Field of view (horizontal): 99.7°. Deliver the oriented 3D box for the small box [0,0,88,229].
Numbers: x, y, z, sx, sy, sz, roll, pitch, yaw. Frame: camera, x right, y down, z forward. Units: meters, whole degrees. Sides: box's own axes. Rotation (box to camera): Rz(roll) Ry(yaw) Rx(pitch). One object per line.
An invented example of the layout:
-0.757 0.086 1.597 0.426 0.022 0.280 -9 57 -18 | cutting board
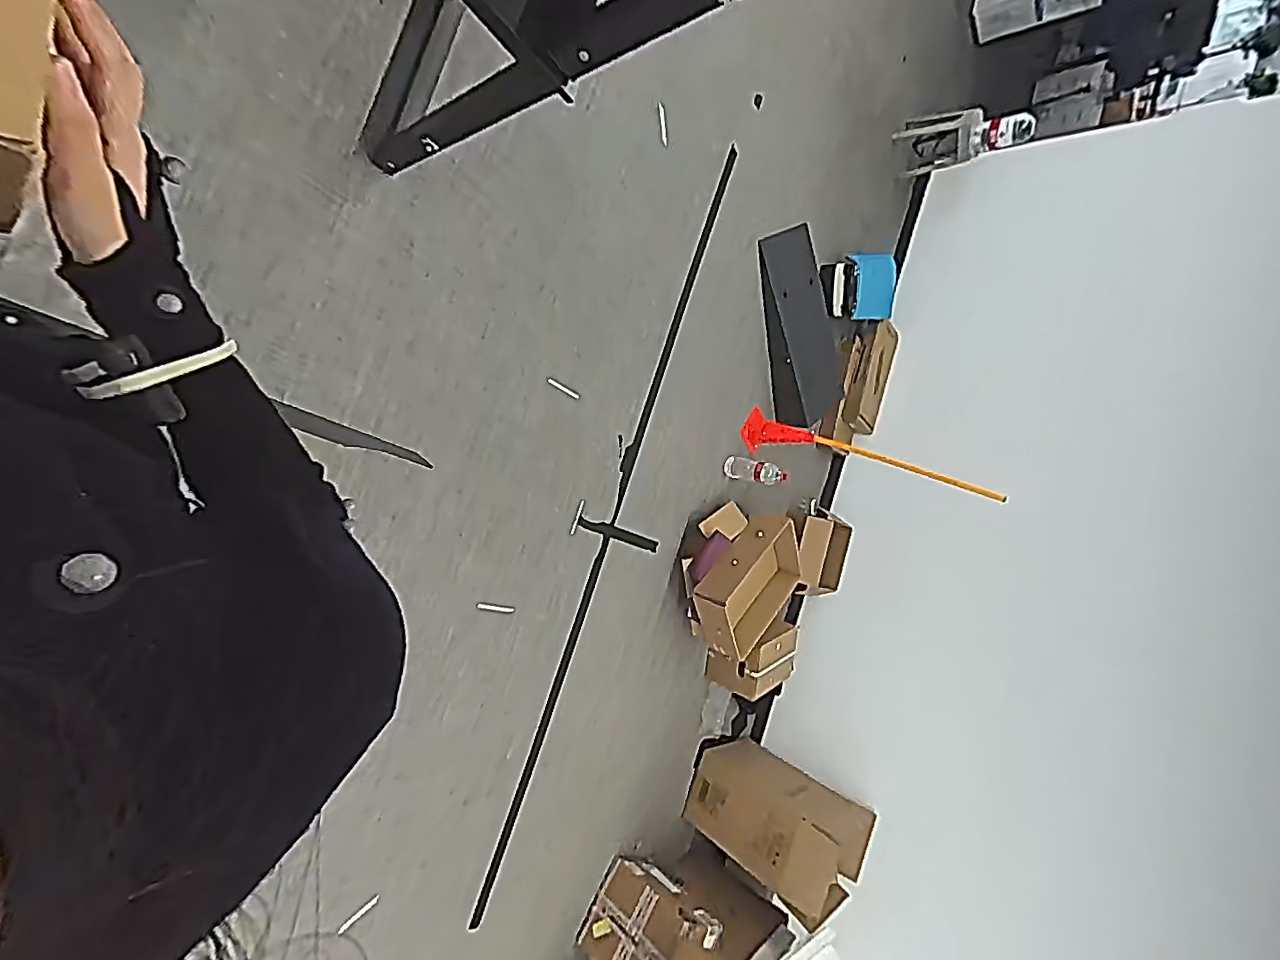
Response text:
-0.349 -0.232 0.215 0.168 0.176 0.179 7 89 -53 | small box
